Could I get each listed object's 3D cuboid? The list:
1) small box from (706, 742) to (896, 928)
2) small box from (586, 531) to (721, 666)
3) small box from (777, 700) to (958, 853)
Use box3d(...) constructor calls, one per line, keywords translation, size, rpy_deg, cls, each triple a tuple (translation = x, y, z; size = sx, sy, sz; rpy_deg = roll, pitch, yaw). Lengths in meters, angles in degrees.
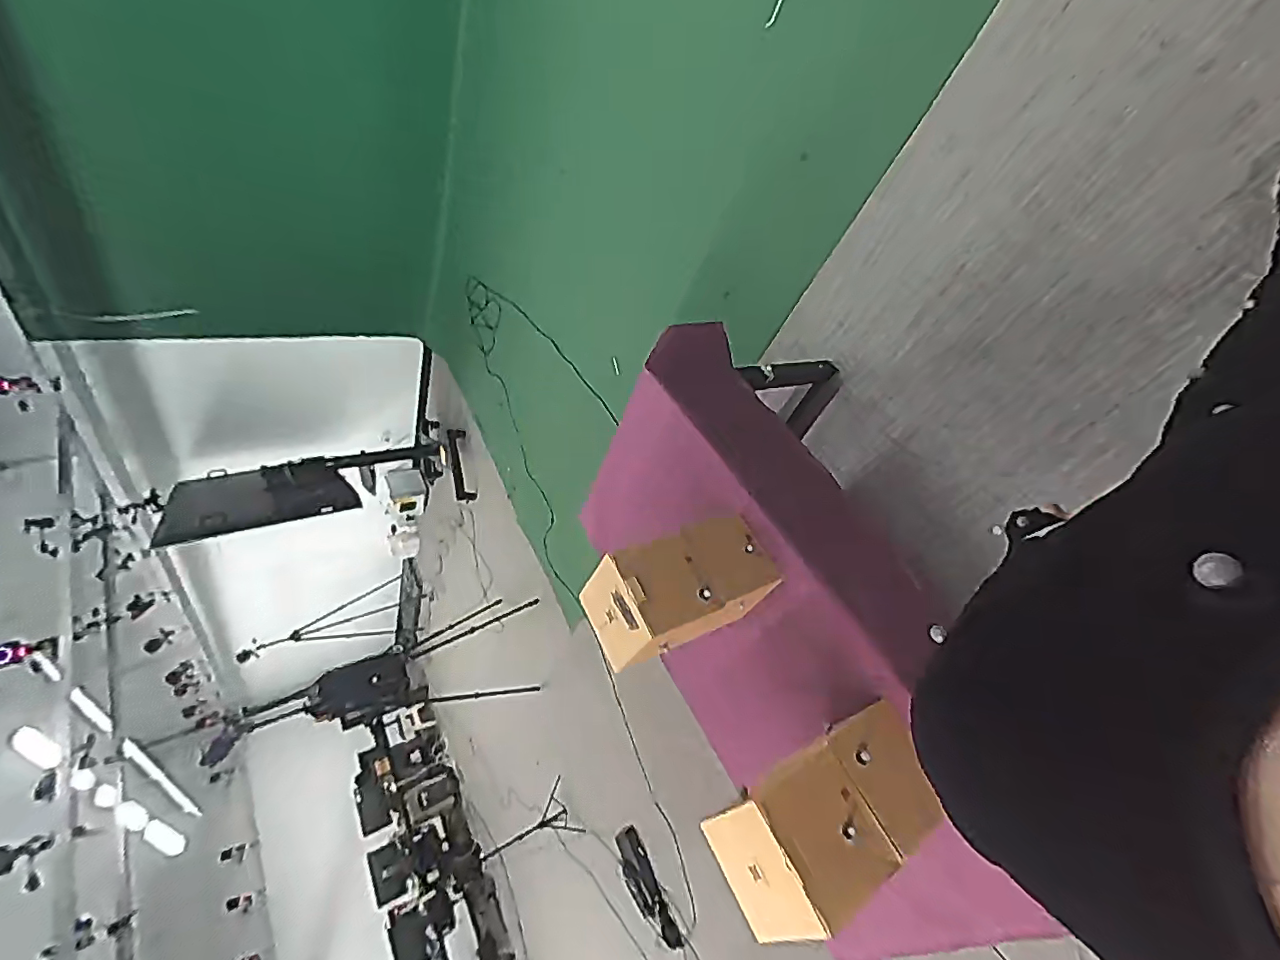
box3d(translation=(0.236, 0.525, 0.807), size=(0.168, 0.176, 0.179), rpy_deg=(59, 141, 27), cls="small box")
box3d(translation=(0.027, 0.217, 1.012), size=(0.168, 0.176, 0.179), rpy_deg=(60, 143, 25), cls="small box")
box3d(translation=(0.370, 0.488, 0.893), size=(0.179, 0.176, 0.168), rpy_deg=(58, 142, 27), cls="small box")
